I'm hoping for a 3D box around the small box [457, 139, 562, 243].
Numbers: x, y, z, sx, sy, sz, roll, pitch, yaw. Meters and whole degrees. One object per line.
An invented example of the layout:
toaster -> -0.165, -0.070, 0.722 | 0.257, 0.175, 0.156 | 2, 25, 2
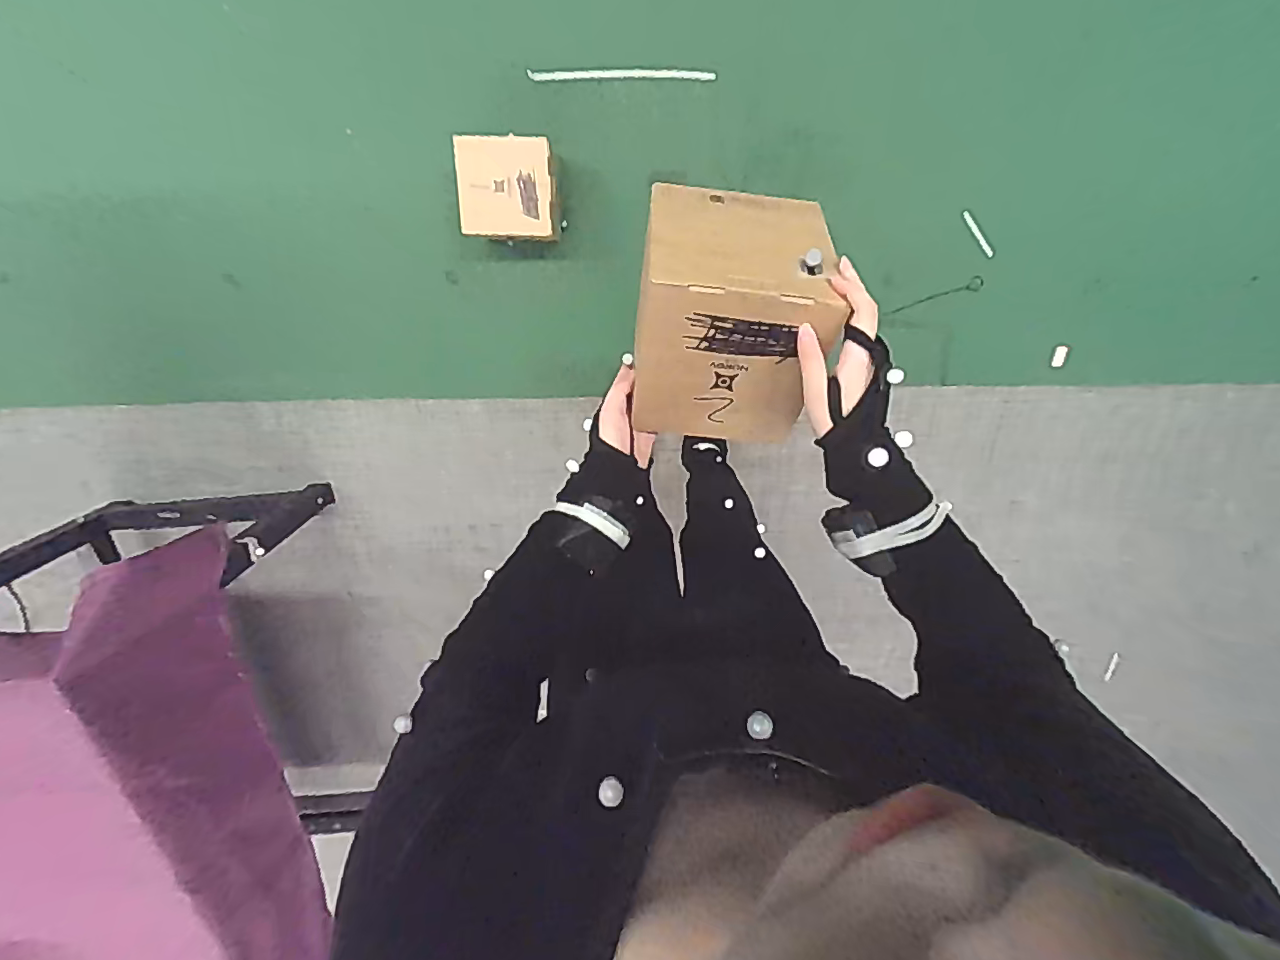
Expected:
small box -> -0.252, -0.574, 1.090 | 0.179, 0.176, 0.168 | 1, 111, 0
